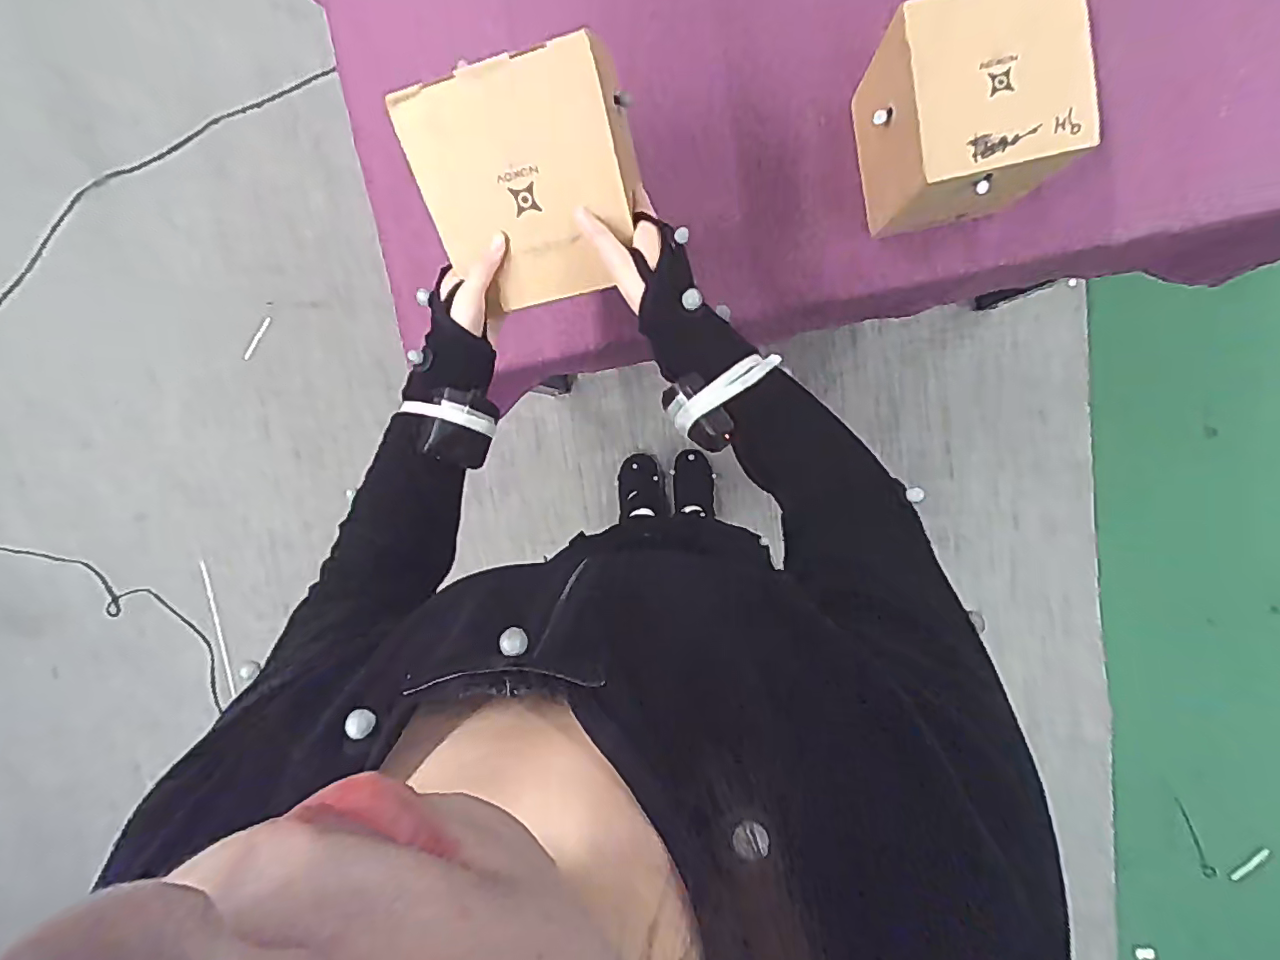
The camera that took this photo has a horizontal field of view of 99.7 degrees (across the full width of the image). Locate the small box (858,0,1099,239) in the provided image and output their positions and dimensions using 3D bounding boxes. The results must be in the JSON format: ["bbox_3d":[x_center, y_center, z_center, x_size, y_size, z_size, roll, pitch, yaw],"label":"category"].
[{"bbox_3d":[0.359,-0.400,0.606,0.168,0.176,0.179,-10,95,7],"label":"small box"}]

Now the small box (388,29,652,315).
[{"bbox_3d":[-0.088,-0.279,0.500,0.168,0.176,0.179,-8,126,11],"label":"small box"}]
